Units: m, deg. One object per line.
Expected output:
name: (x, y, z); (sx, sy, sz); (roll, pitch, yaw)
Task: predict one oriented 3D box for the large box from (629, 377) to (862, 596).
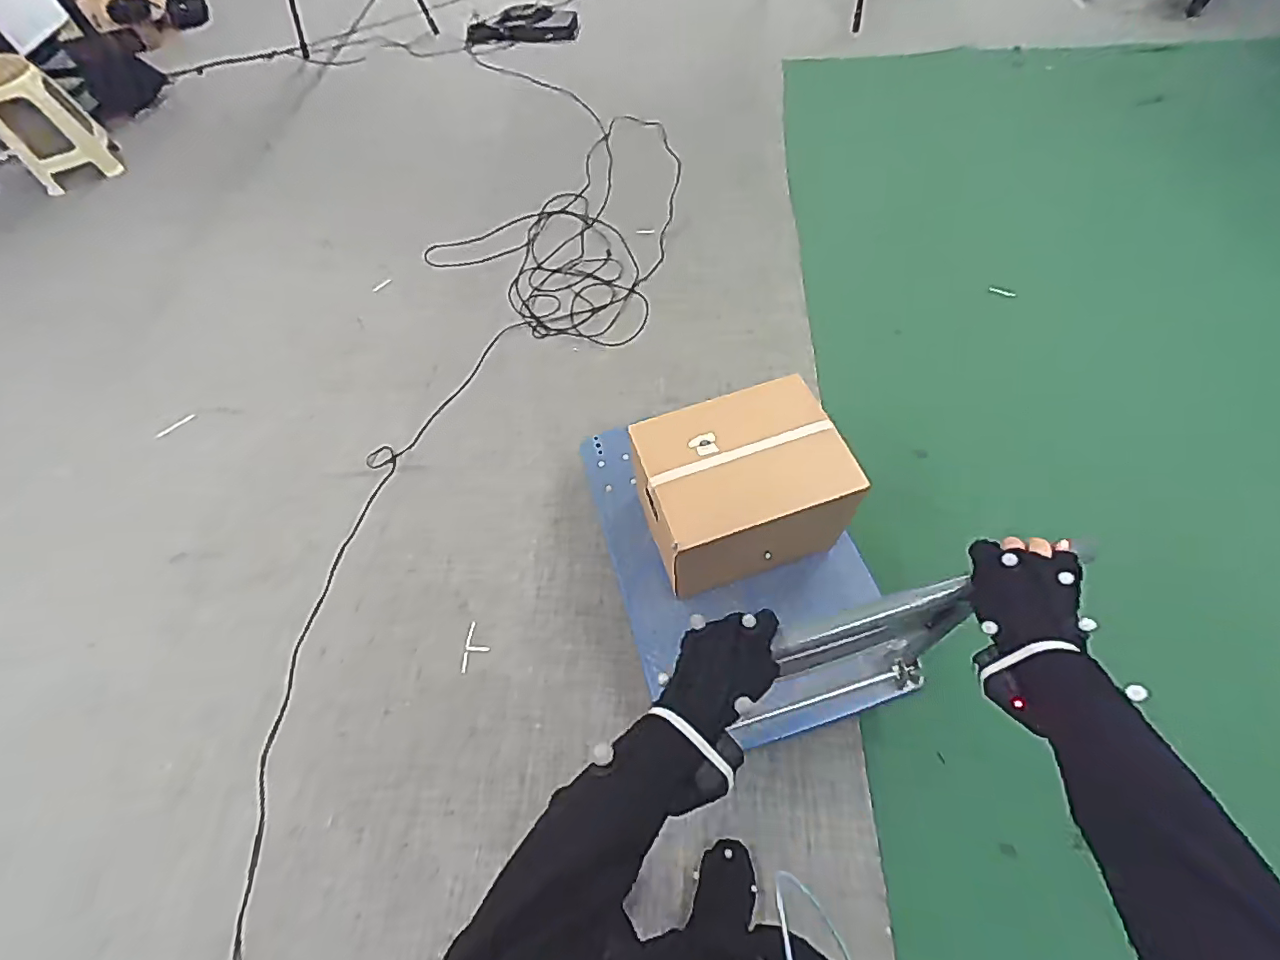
large box: (0.223, 0.026, 1.255); (0.408, 0.320, 0.320); (-19, 60, -5)
